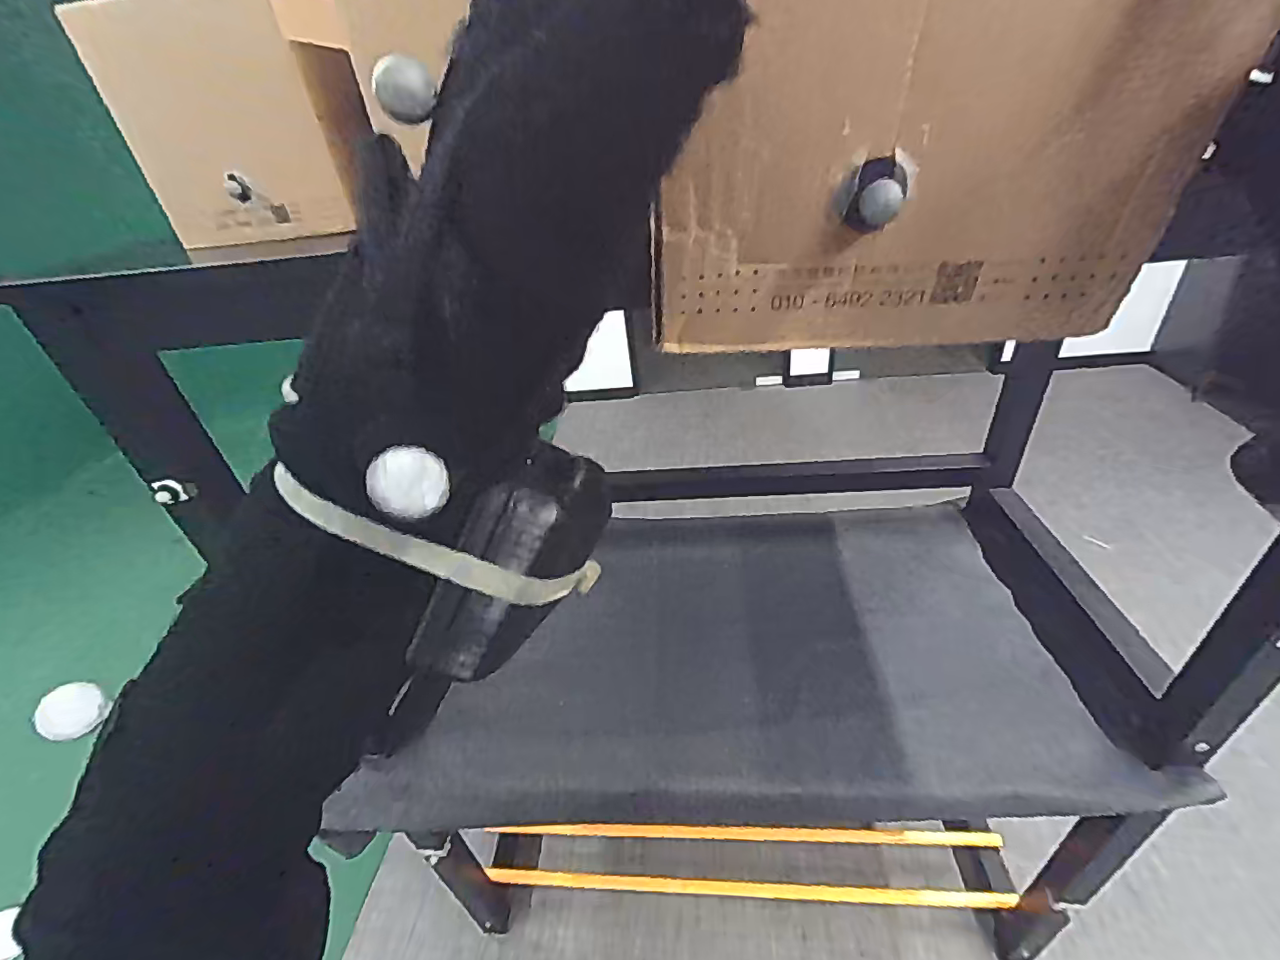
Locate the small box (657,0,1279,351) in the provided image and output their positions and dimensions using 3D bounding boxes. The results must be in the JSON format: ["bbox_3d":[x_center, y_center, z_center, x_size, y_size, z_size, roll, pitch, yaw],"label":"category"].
[{"bbox_3d":[0.090,-0.166,0.209,0.168,0.176,0.179,-2,43,2],"label":"small box"}]
